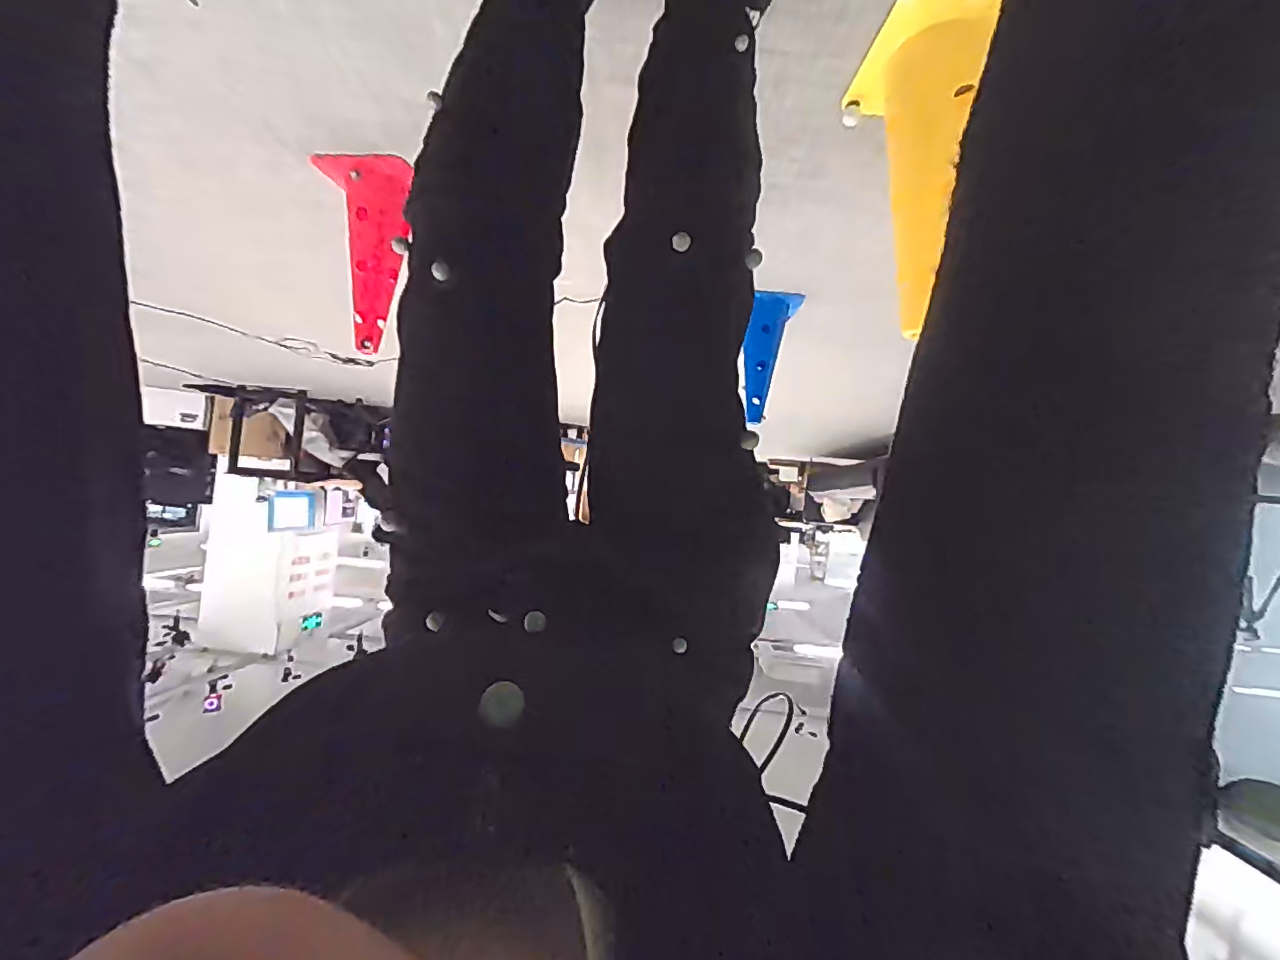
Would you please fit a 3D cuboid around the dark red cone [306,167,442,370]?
[{"bbox_3d":[-0.558,-0.419,1.104,0.202,0.394,0.201,5,175,10],"label":"dark red cone"}]
